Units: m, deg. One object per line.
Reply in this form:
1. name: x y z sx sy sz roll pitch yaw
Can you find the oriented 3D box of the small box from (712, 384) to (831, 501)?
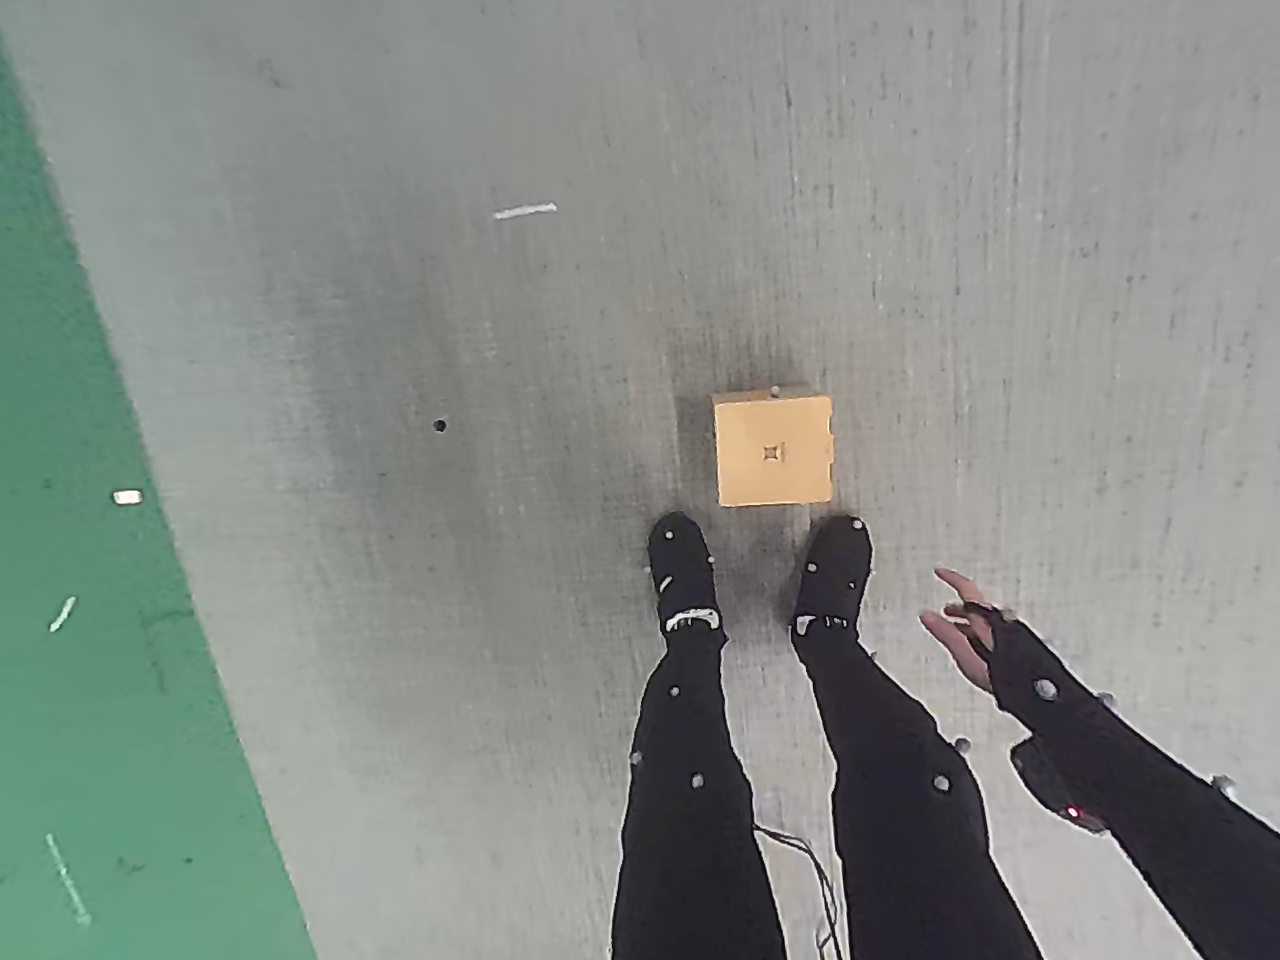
1. small box: 0.210 -0.068 0.900 0.179 0.176 0.168 -4 103 6
